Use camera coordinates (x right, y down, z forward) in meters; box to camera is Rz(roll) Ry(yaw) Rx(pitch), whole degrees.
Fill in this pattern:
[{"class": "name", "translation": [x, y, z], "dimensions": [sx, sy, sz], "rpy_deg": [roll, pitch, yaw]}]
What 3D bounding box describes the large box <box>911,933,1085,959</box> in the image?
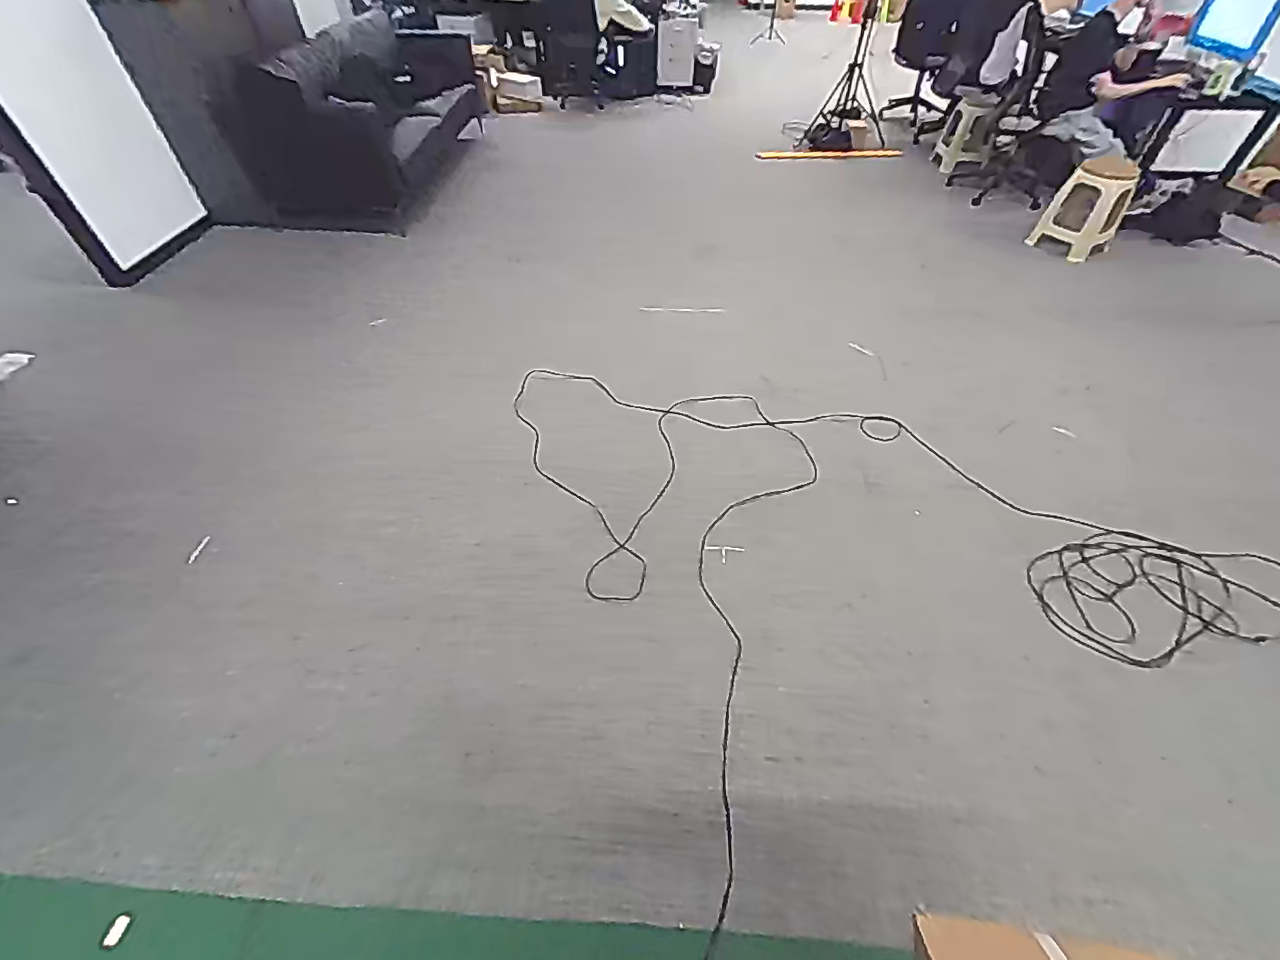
[{"class": "large box", "translation": [0.487, 0.777, 0.528], "dimensions": [0.320, 0.408, 0.320], "rpy_deg": [3, 87, 12]}]
